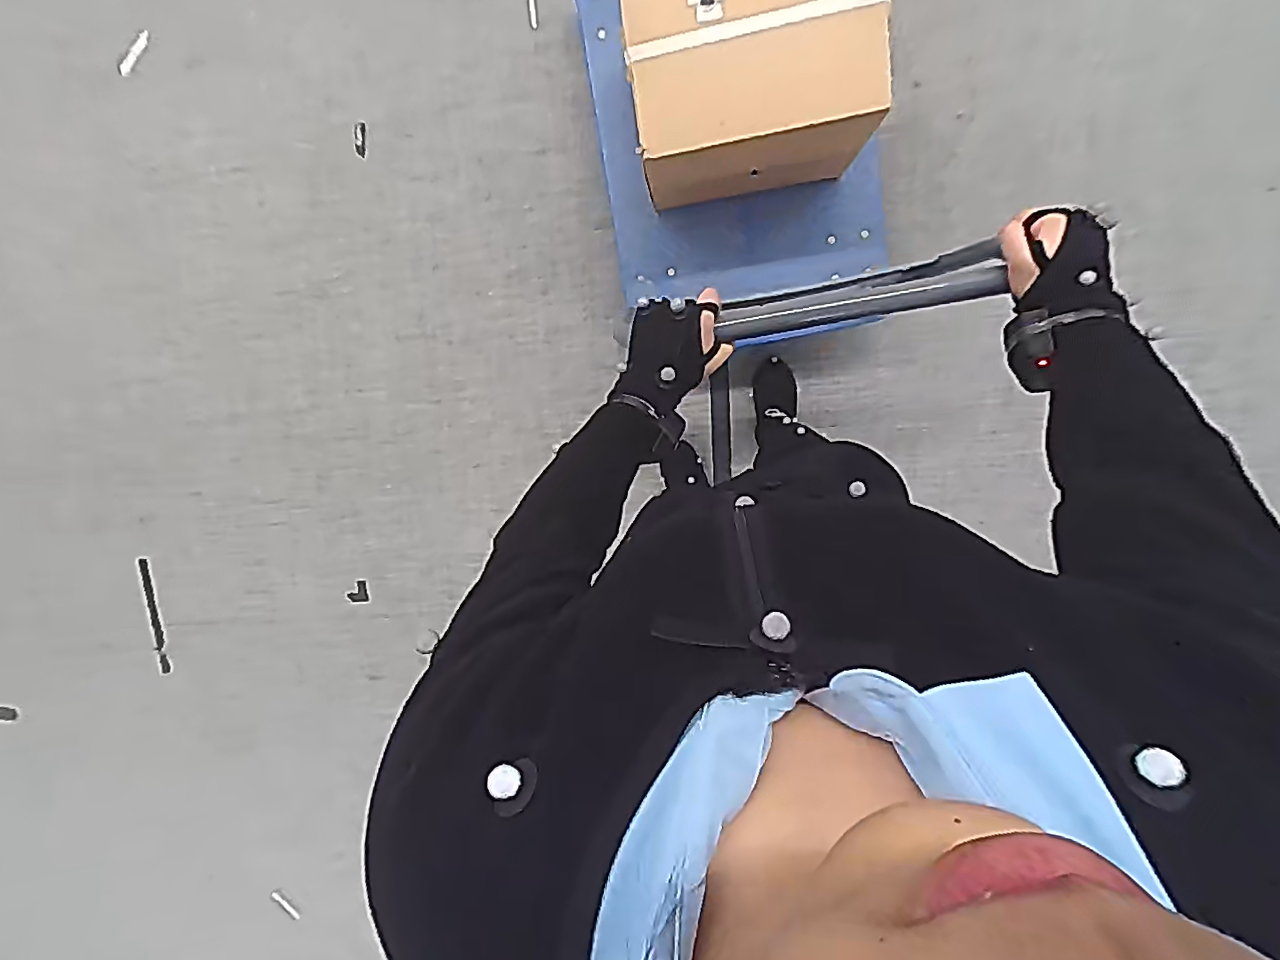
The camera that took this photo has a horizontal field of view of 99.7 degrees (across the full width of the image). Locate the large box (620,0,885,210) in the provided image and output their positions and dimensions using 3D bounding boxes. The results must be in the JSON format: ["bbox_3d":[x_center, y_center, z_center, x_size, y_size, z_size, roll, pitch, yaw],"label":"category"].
[{"bbox_3d":[0.198,-0.752,1.021,0.408,0.320,0.320,-8,99,8],"label":"large box"}]
